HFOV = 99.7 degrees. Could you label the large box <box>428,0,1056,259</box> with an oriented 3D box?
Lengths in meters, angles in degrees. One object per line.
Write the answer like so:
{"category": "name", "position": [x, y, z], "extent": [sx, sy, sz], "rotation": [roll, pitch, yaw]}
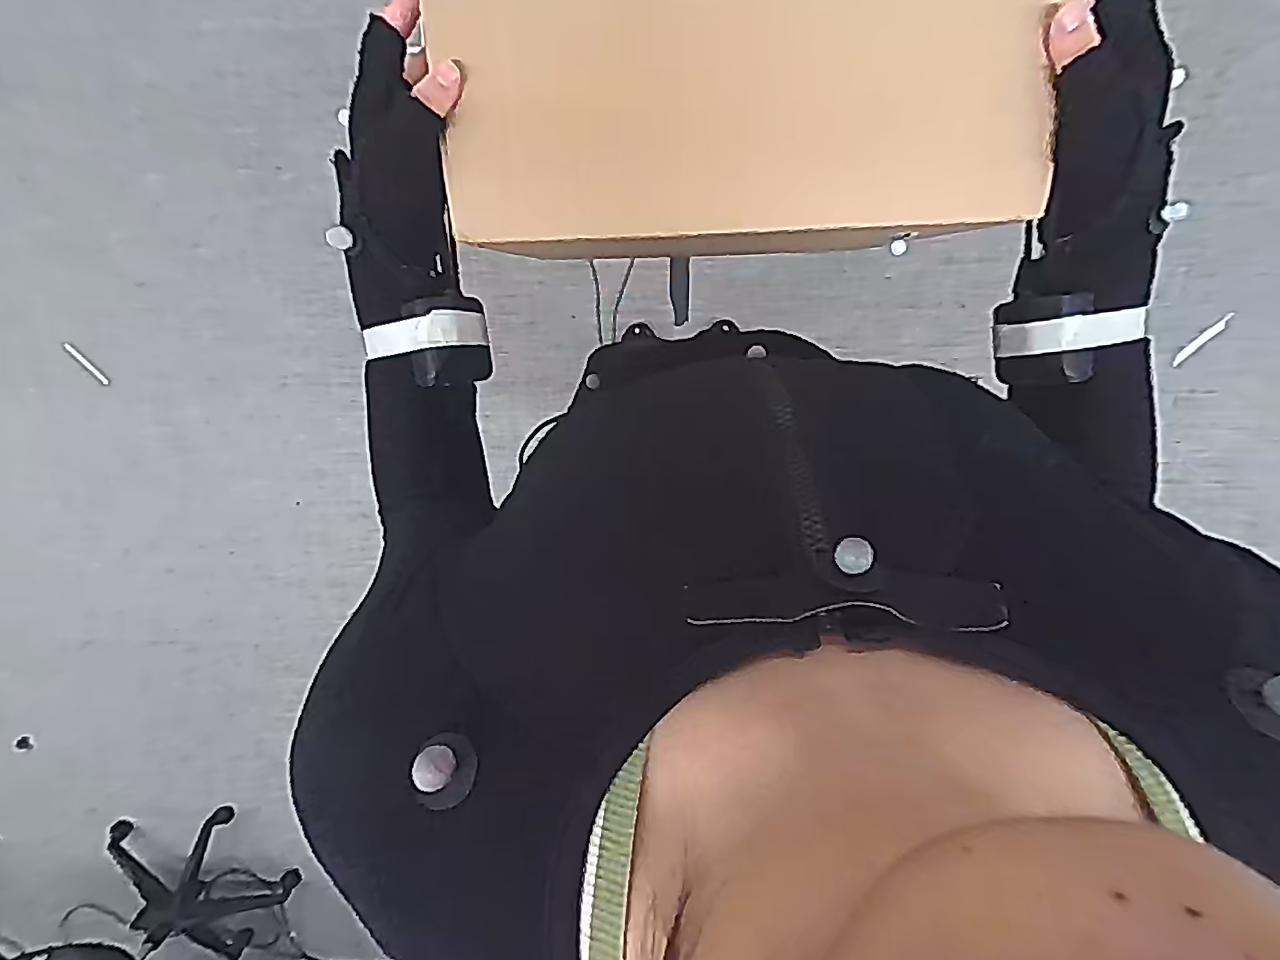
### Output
{"category": "large box", "position": [0.065, -0.371, 0.473], "extent": [0.408, 0.320, 0.320], "rotation": [-2, 109, 1]}
